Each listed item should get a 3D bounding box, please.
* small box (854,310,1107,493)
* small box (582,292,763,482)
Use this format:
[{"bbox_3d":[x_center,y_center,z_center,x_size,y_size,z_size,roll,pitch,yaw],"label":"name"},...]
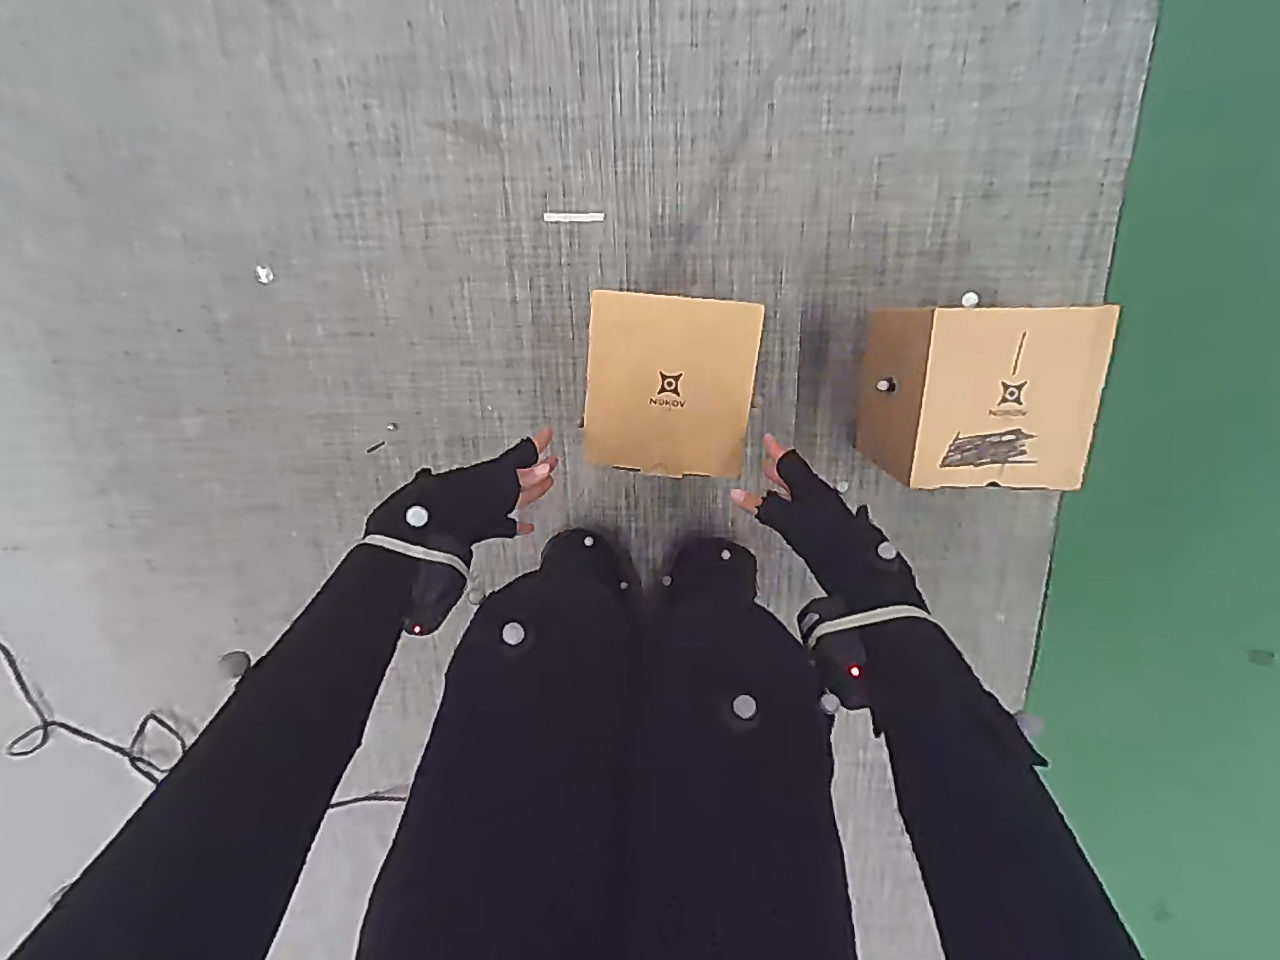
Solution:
[{"bbox_3d":[0.349,-0.094,0.597,0.168,0.176,0.179,1,106,3],"label":"small box"},{"bbox_3d":[0.031,-0.110,0.609,0.168,0.176,0.179,5,107,1],"label":"small box"}]
